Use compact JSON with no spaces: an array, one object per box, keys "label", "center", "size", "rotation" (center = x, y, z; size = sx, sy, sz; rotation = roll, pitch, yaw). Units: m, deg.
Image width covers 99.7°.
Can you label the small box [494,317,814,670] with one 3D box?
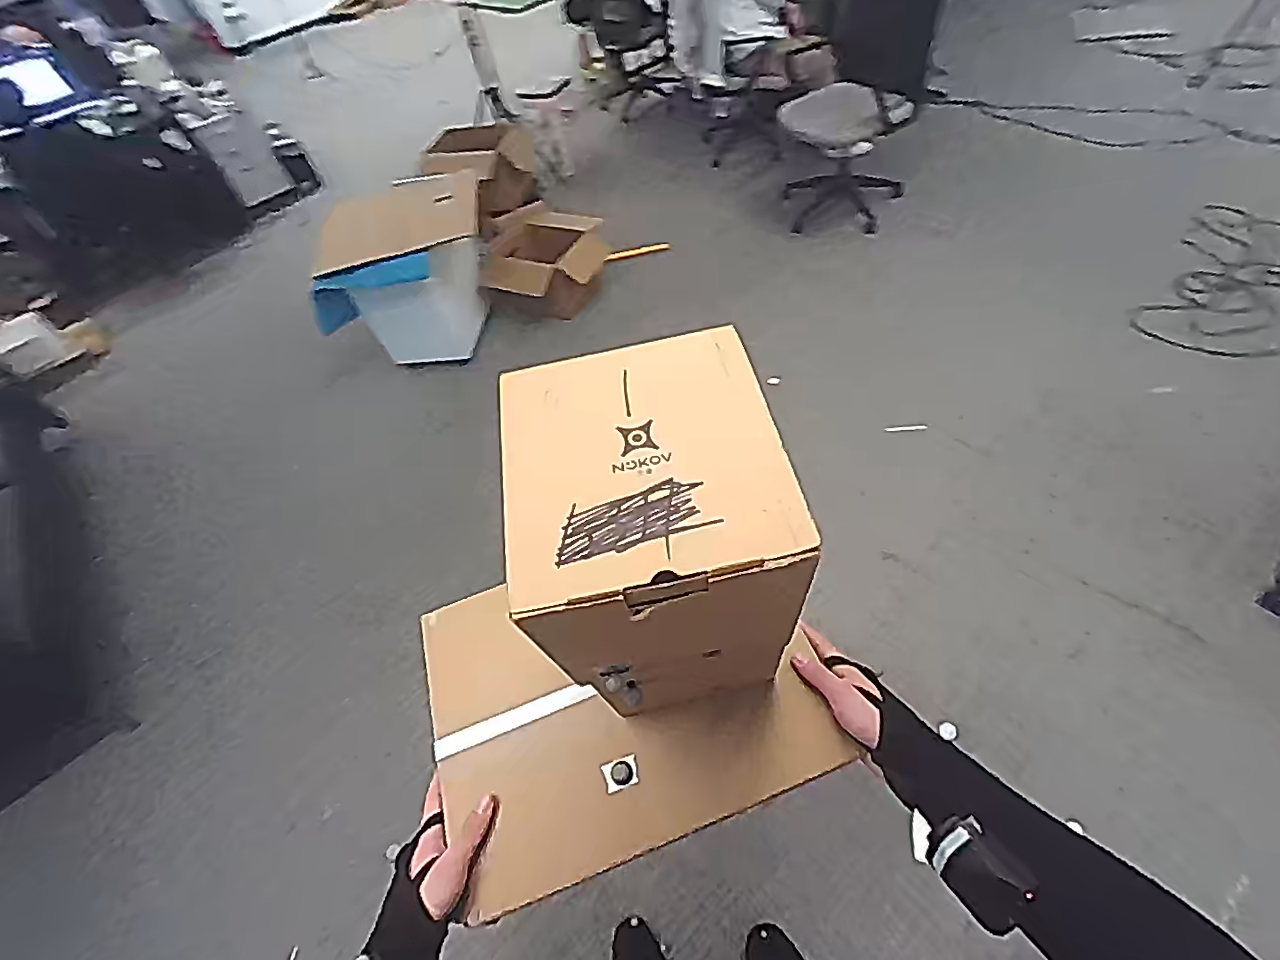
[{"label":"small box","center":[0.007,0.022,0.378],"size":[0.168,0.176,0.179],"rotation":[-11,56,1]}]
